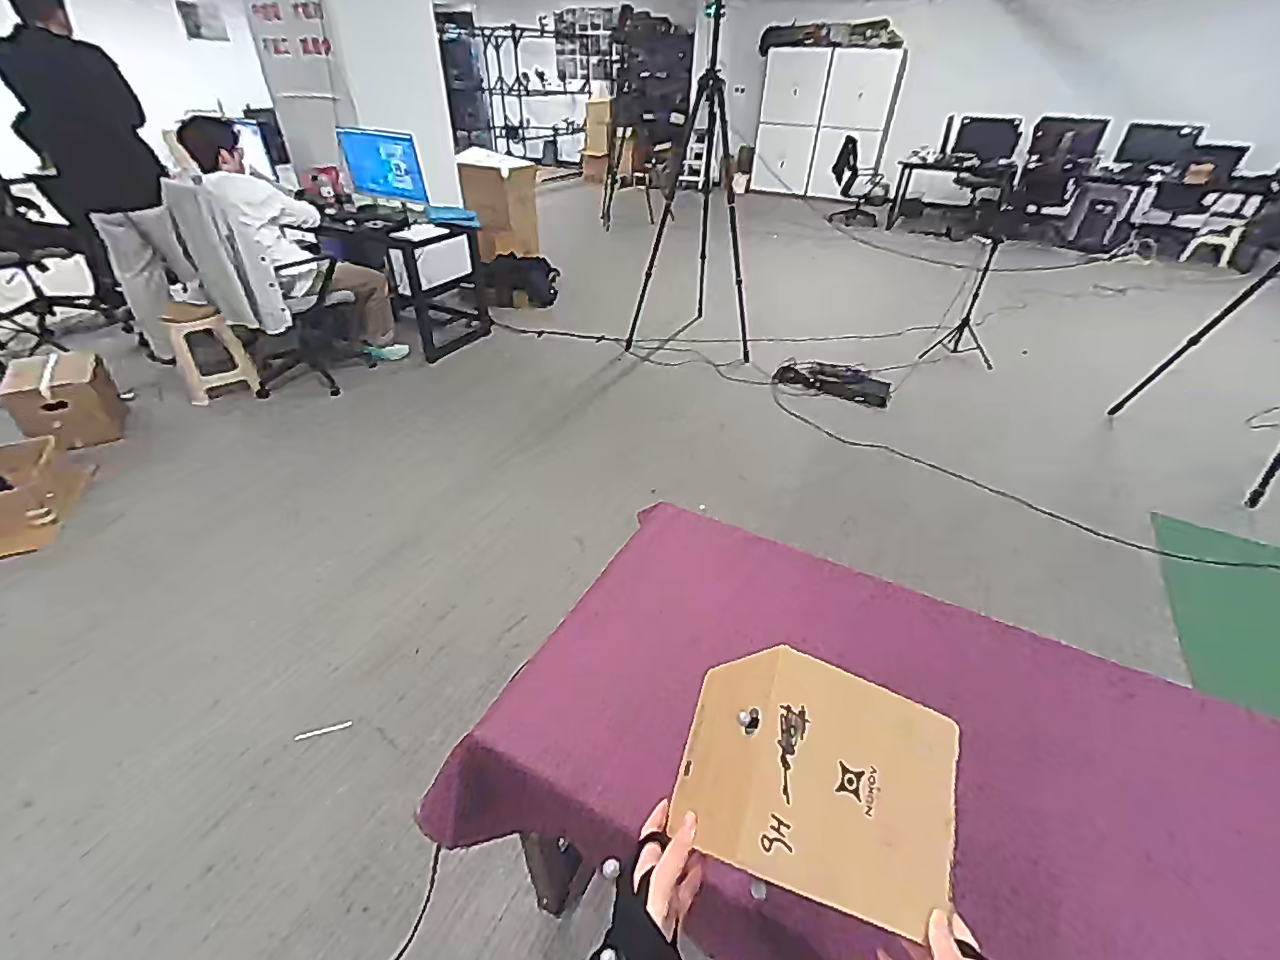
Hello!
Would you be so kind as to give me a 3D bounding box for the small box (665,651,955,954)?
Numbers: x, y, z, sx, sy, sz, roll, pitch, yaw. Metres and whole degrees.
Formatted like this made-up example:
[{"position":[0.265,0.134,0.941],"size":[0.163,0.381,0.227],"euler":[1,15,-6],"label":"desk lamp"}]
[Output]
[{"position":[0.146,0.275,0.488],"size":[0.179,0.176,0.168],"euler":[25,59,-5],"label":"small box"}]
